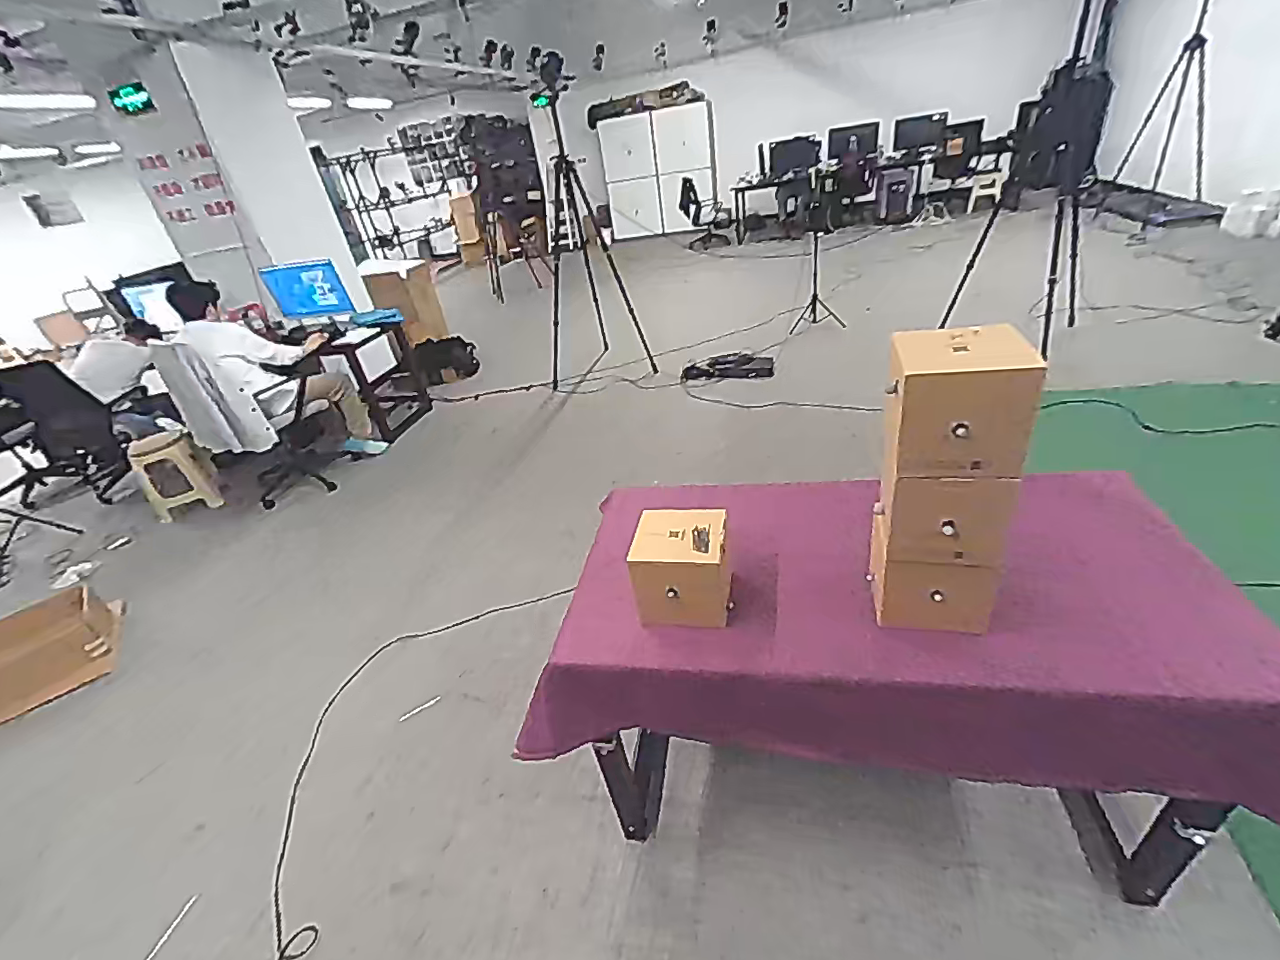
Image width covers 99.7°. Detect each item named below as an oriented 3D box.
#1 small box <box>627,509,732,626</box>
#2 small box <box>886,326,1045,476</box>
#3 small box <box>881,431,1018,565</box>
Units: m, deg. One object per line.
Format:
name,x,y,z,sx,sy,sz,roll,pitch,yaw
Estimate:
small box,0.089,0.174,1.086,0.179,0.176,0.168,-1,33,15
small box,0.469,-0.116,0.809,0.168,0.176,0.179,1,33,18
small box,0.498,0.021,0.897,0.168,0.176,0.179,2,34,19
